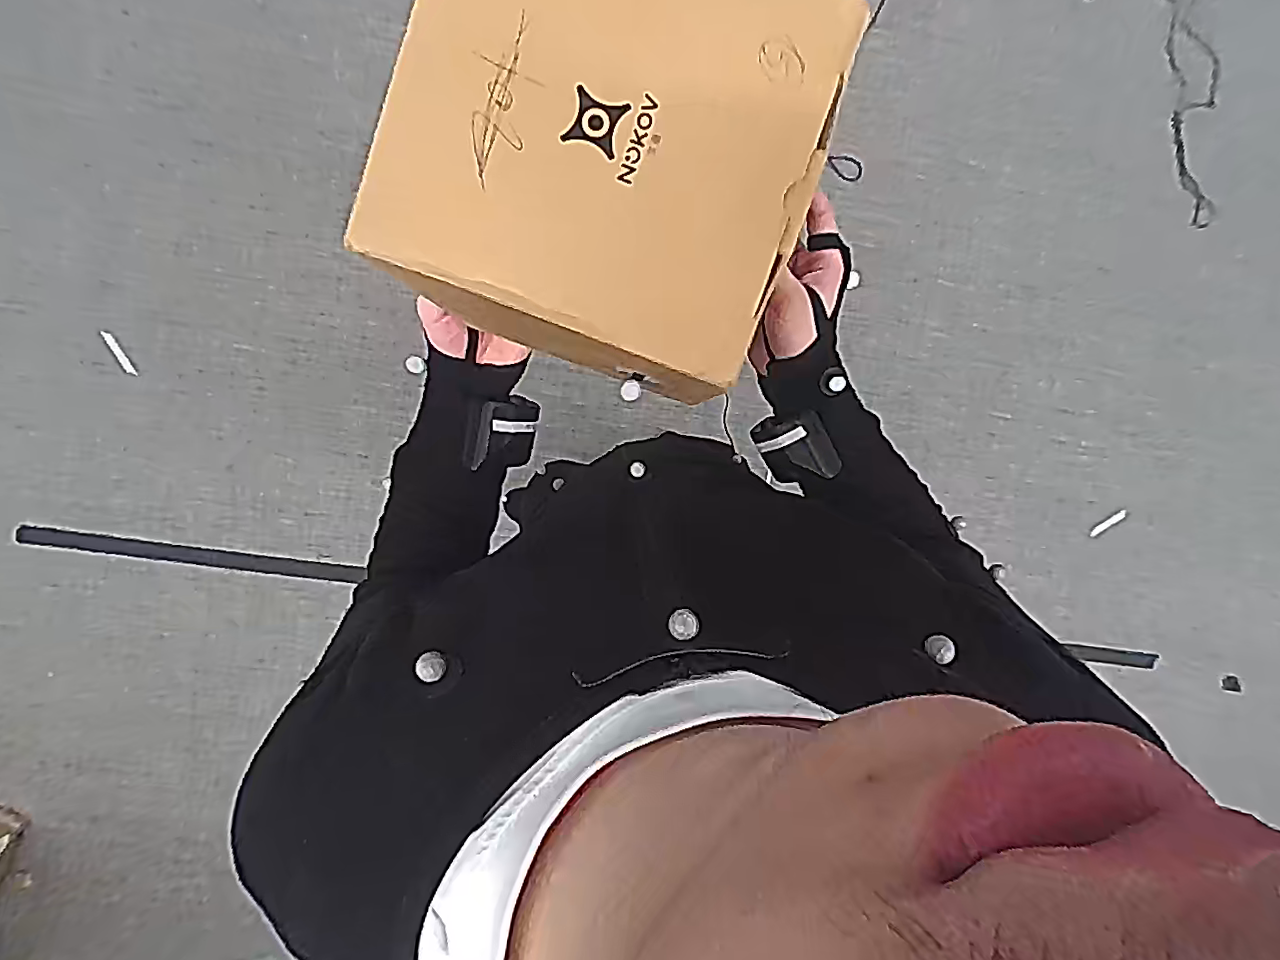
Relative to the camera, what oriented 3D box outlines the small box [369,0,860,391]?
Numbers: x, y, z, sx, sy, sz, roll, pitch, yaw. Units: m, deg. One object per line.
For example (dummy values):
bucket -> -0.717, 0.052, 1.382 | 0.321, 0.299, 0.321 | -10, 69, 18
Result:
small box -> -0.013, -0.155, 0.312 | 0.179, 0.176, 0.168 | 18, 94, -1
